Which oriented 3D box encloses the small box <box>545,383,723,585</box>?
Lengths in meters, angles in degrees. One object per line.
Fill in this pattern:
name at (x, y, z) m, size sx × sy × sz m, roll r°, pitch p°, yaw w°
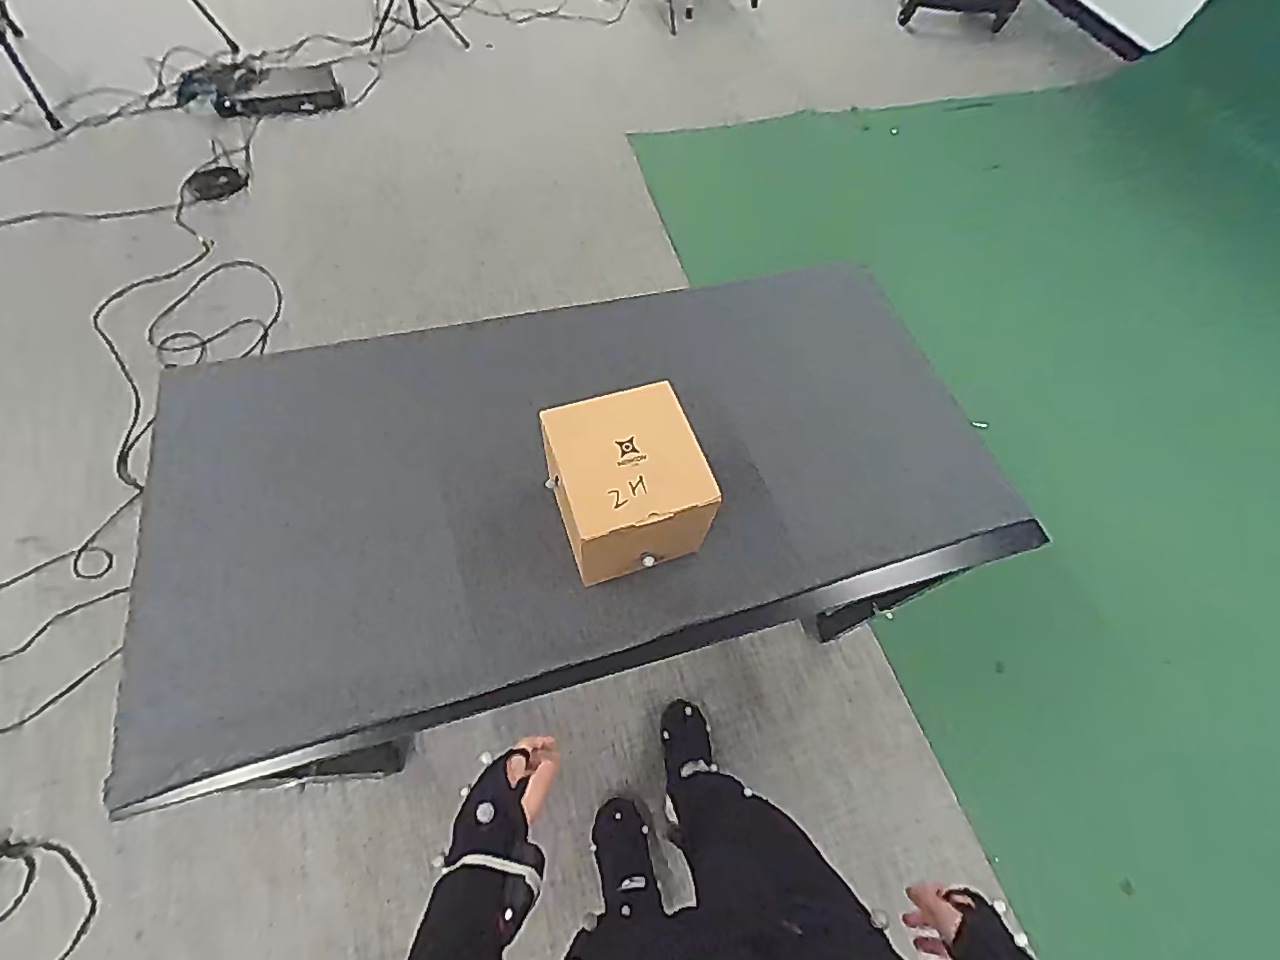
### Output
small box at (-0.017, 0.009, 0.686) m, size 0.168 × 0.176 × 0.179 m, roll -16°, pitch 63°, yaw -12°
